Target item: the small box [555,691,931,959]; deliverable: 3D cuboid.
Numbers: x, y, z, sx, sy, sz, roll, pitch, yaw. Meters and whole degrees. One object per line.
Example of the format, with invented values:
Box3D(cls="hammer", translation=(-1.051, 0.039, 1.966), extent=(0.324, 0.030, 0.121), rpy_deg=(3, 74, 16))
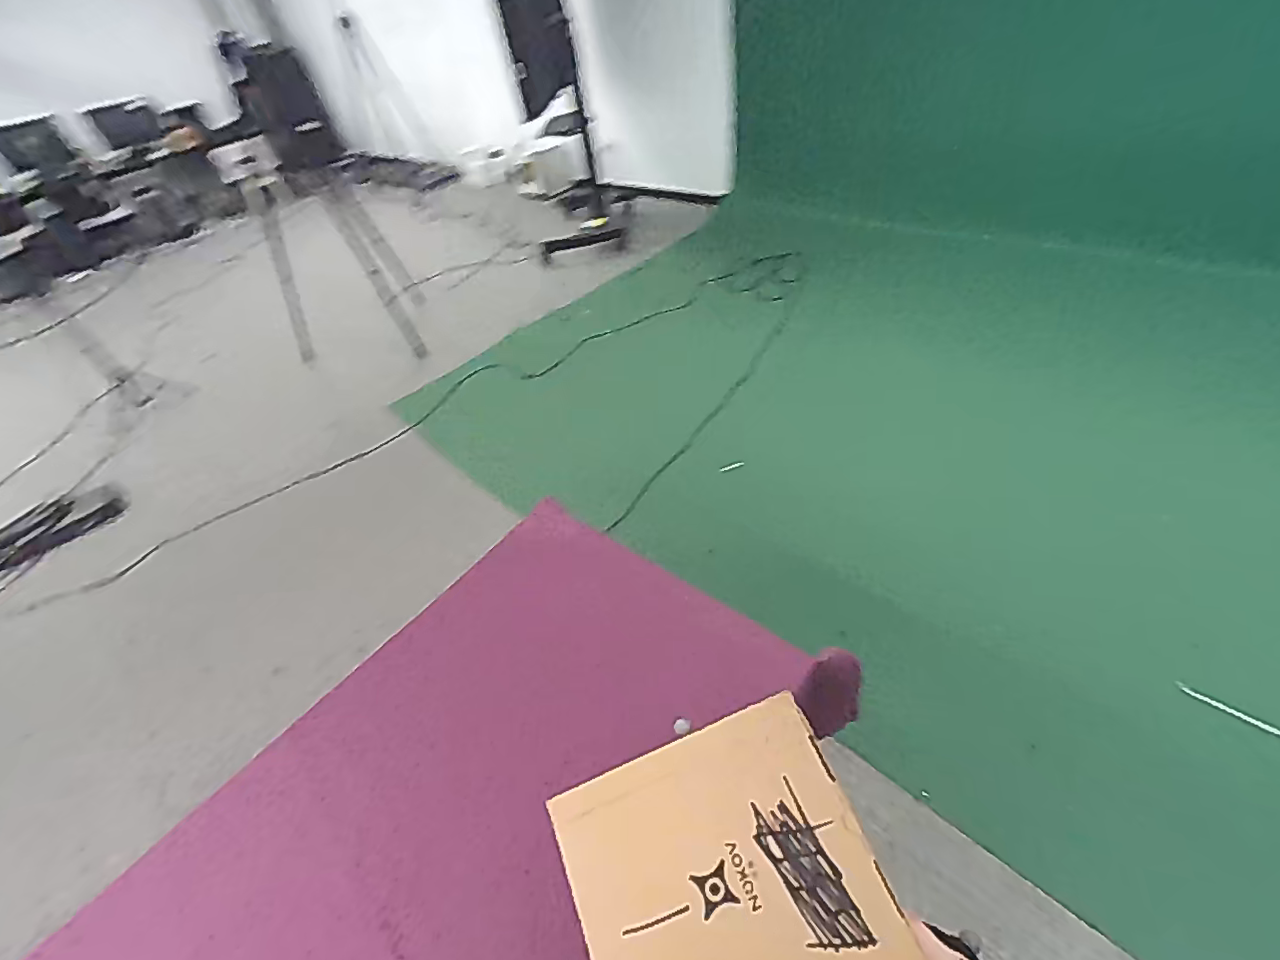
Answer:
Box3D(cls="small box", translation=(0.056, 0.271, 0.386), extent=(0.179, 0.176, 0.168), rpy_deg=(-20, 62, -8))
